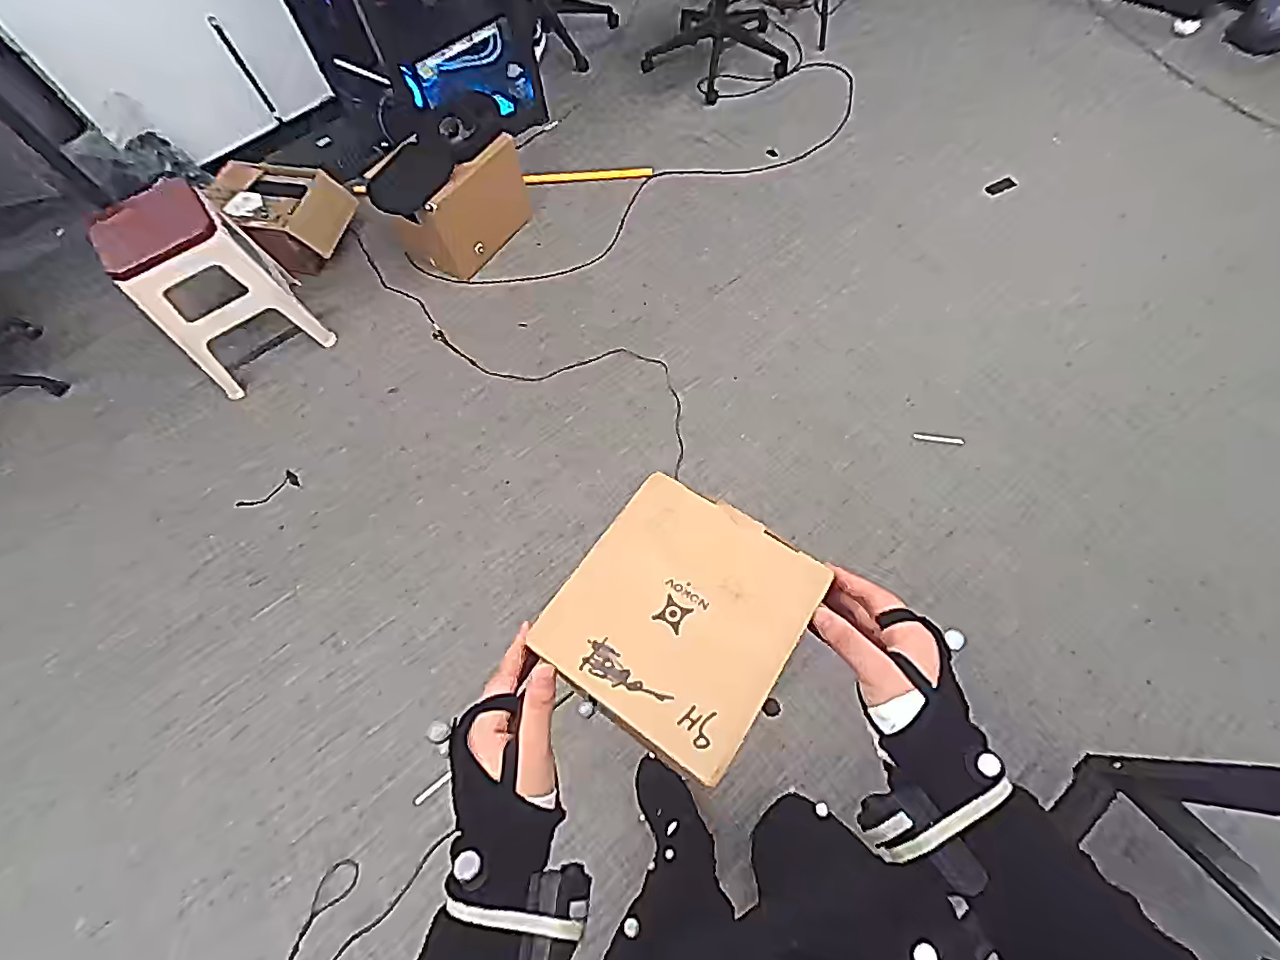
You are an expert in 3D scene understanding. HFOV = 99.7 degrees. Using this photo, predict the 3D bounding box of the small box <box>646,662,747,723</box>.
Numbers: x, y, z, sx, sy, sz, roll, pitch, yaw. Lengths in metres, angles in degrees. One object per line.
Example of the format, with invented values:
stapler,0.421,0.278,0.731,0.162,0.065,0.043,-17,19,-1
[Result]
small box,0.130,0.448,1.282,0.179,0.176,0.168,-41,69,-14

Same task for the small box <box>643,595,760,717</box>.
small box,0.125,0.376,1.136,0.179,0.176,0.168,-42,70,-17
